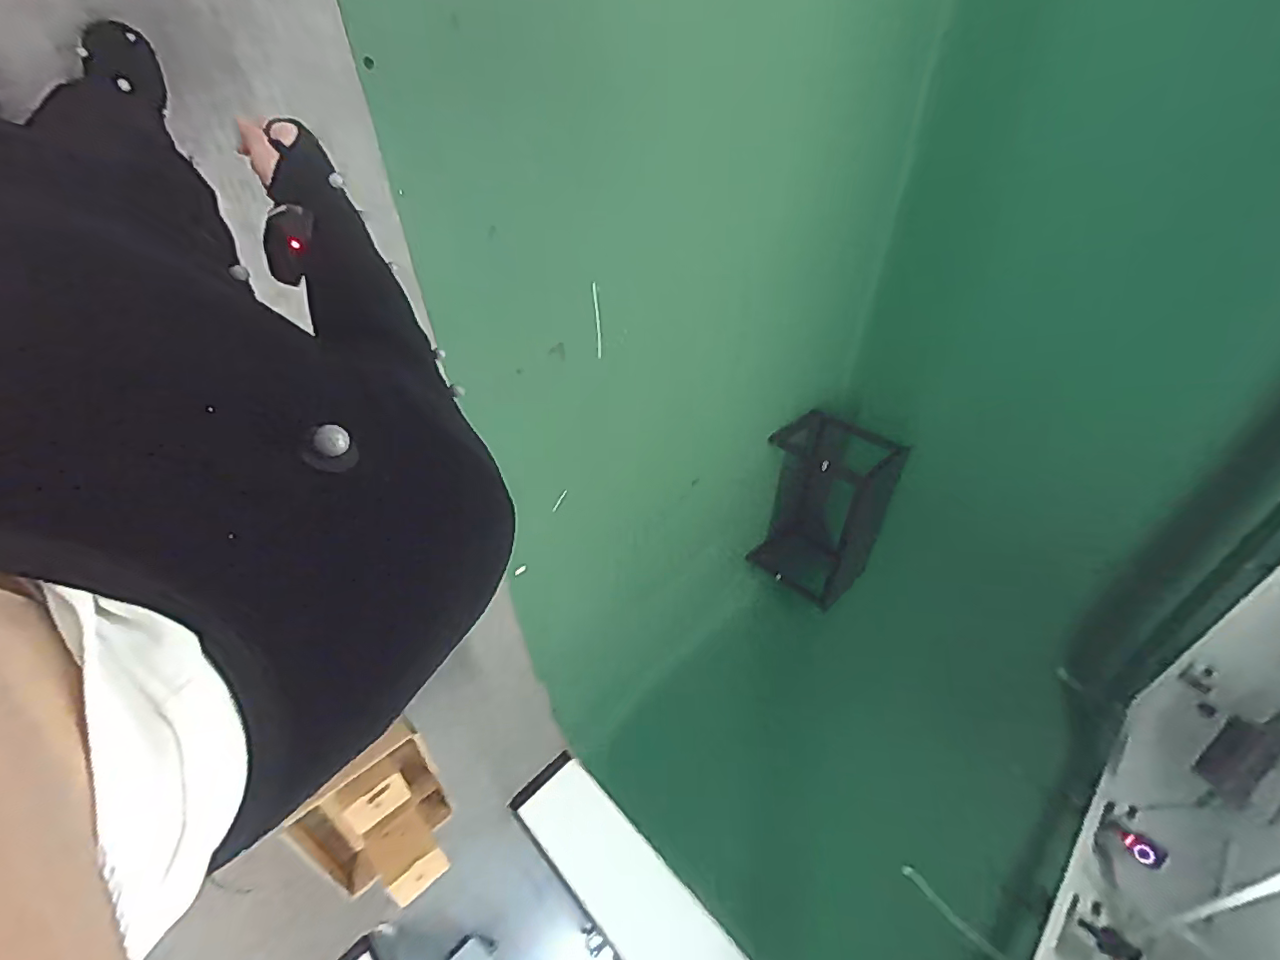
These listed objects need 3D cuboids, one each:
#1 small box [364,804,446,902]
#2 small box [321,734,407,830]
[{"bbox_3d":[-0.752,1.187,1.730,0.168,0.176,0.179,-30,136,-33],"label":"small box"},{"bbox_3d":[-0.857,0.927,1.676,0.168,0.176,0.179,-30,139,-34],"label":"small box"}]
